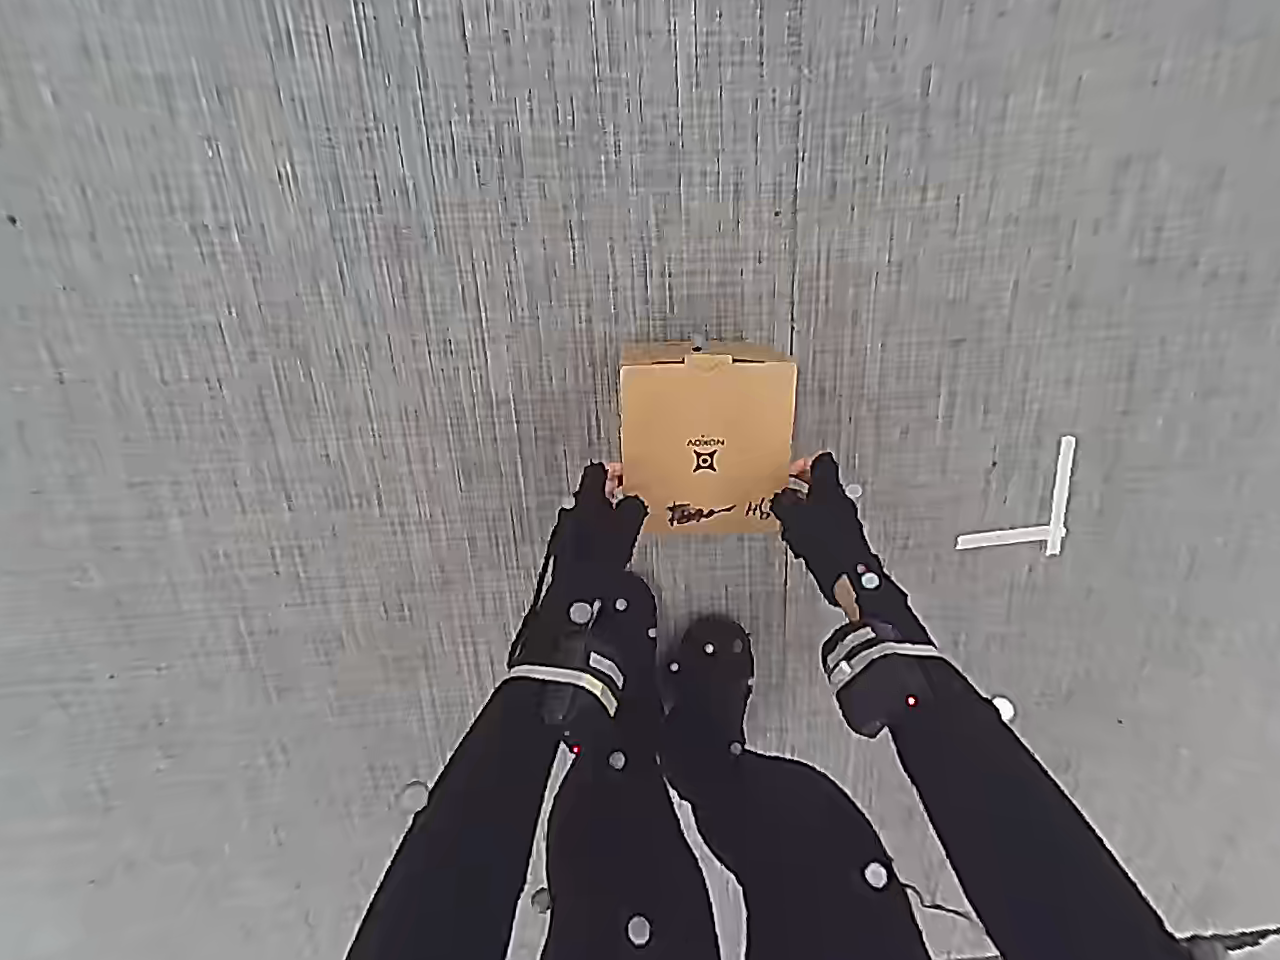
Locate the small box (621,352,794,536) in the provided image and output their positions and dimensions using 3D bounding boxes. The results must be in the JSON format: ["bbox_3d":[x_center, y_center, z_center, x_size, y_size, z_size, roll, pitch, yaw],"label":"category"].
[{"bbox_3d":[0.061,-0.049,0.604,0.168,0.176,0.179,-1,108,-1],"label":"small box"}]
